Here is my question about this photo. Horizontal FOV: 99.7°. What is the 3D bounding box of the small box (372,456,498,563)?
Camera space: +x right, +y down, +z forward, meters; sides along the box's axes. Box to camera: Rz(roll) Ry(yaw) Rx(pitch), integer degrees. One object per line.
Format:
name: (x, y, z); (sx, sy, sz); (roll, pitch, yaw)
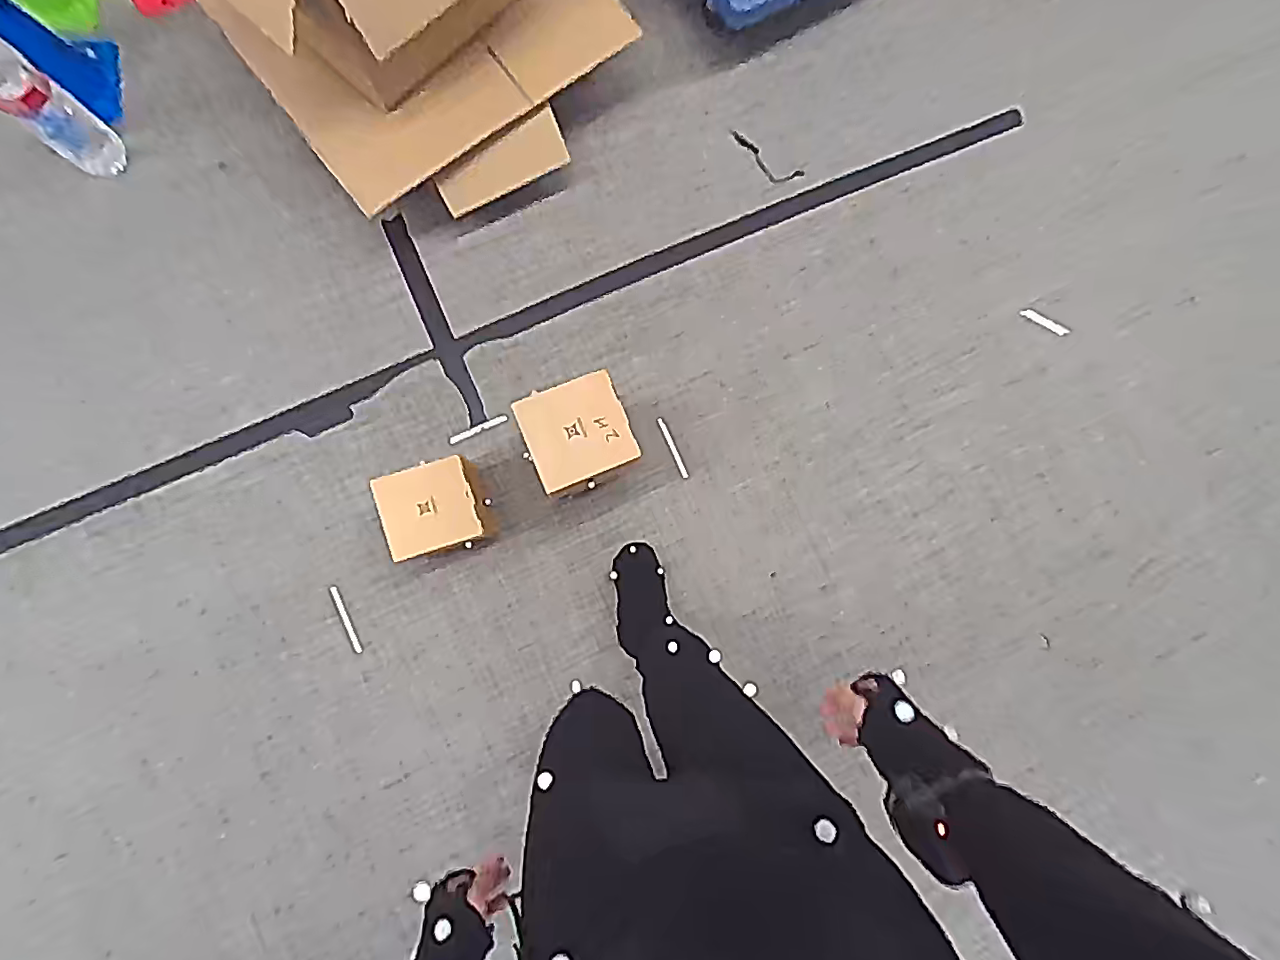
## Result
small box: (-0.408, 0.064, 1.105); (0.179, 0.176, 0.168); (-18, 86, -7)

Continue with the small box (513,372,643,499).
small box: (-0.111, -0.071, 0.980); (0.179, 0.176, 0.168); (-22, 88, -8)
